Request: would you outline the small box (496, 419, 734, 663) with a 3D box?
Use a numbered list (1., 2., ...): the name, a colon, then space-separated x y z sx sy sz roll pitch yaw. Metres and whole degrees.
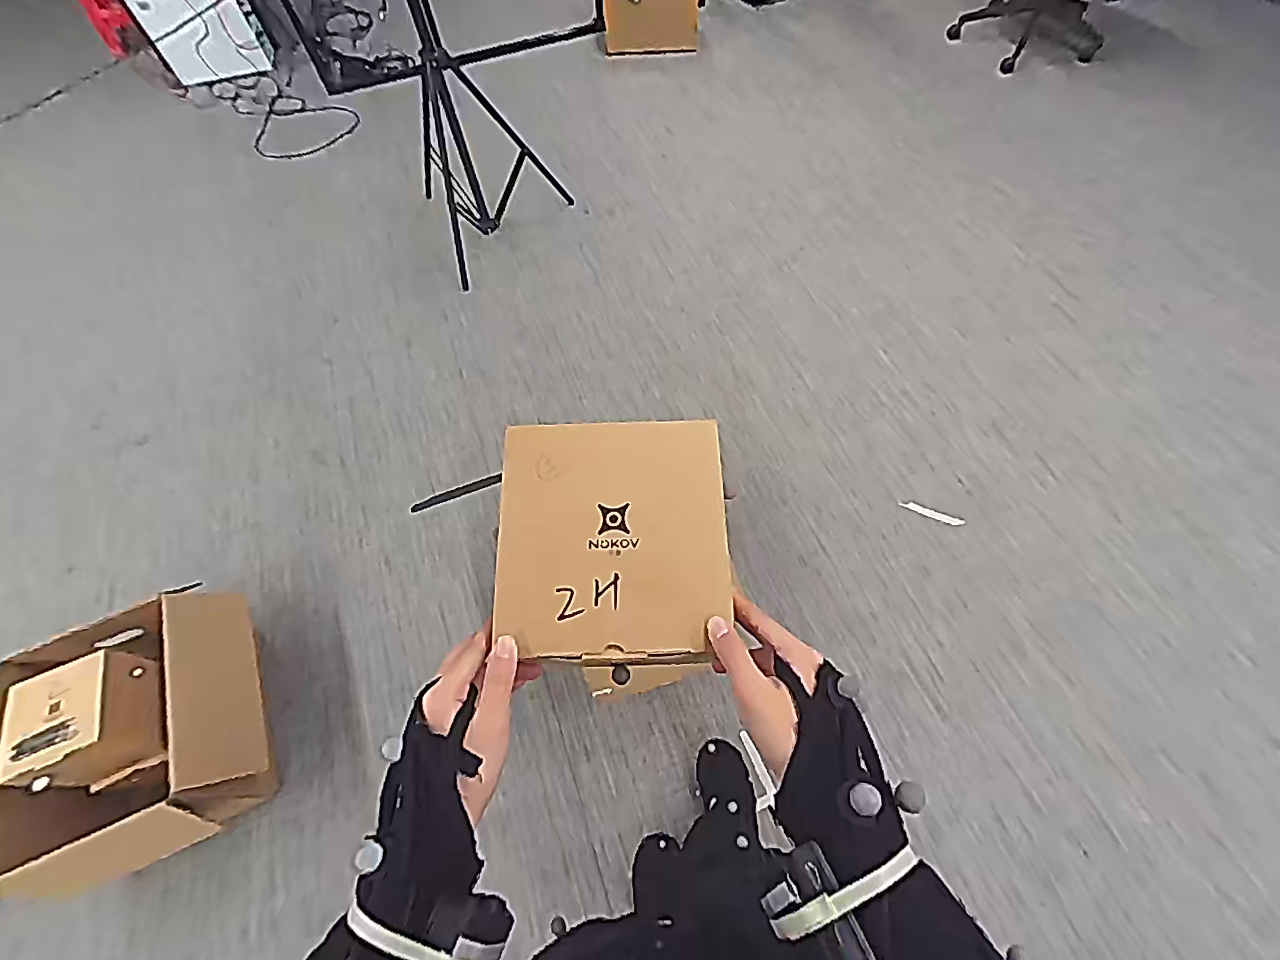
1. small box: -0.018 0.063 0.471 0.168 0.176 0.179 -2 69 0
